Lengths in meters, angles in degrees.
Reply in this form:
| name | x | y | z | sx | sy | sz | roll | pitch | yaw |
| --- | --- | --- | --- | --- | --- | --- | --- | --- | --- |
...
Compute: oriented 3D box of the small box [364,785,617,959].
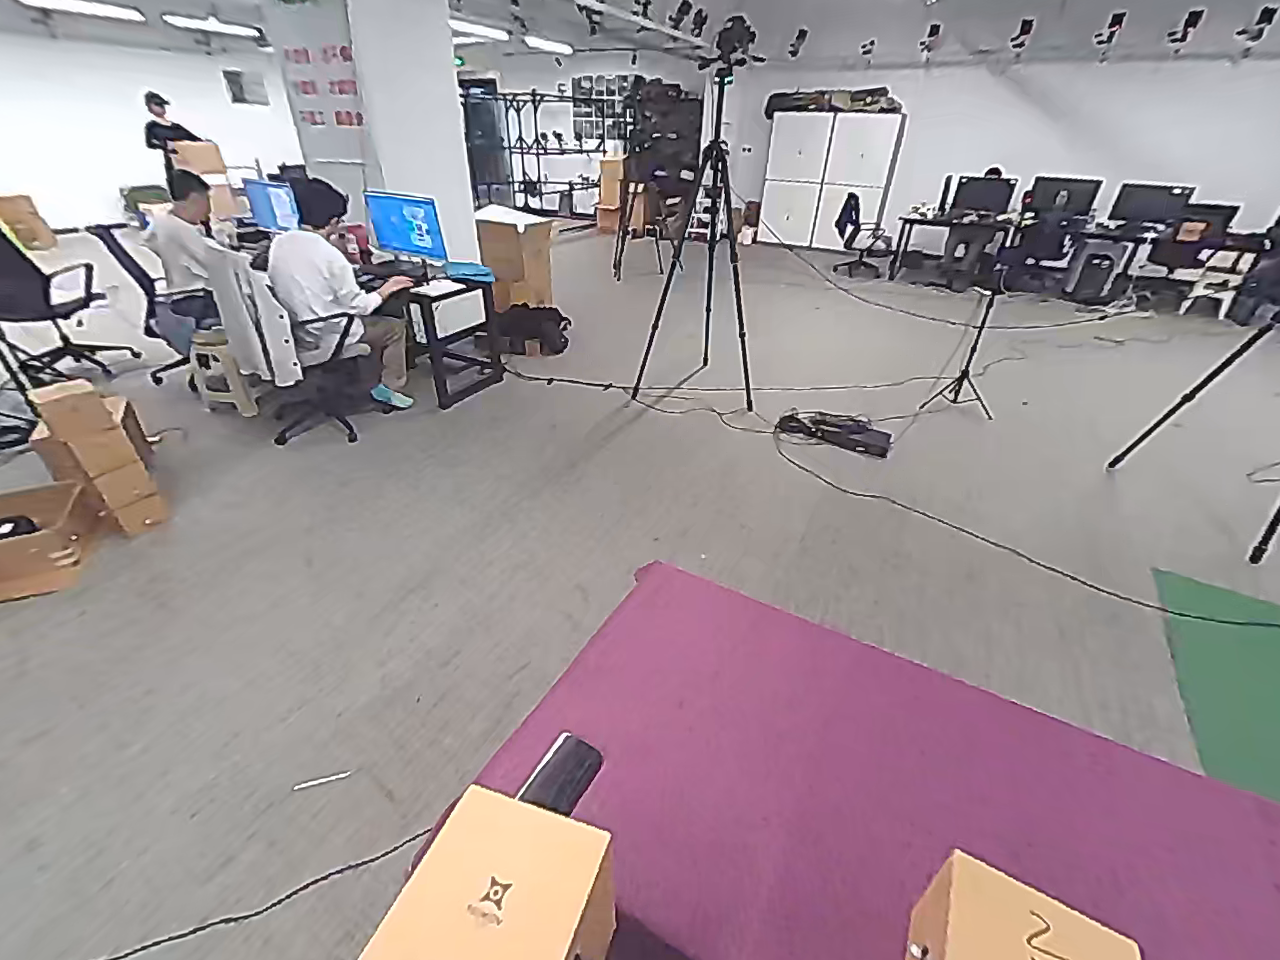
| name | x | y | z | sx | sy | sz | roll | pitch | yaw |
| --- | --- | --- | --- | --- | --- | --- | --- | --- | --- |
| small box | -0.130 | 0.454 | 0.532 | 0.168 | 0.176 | 0.179 | 9 | 29 | 17 |
